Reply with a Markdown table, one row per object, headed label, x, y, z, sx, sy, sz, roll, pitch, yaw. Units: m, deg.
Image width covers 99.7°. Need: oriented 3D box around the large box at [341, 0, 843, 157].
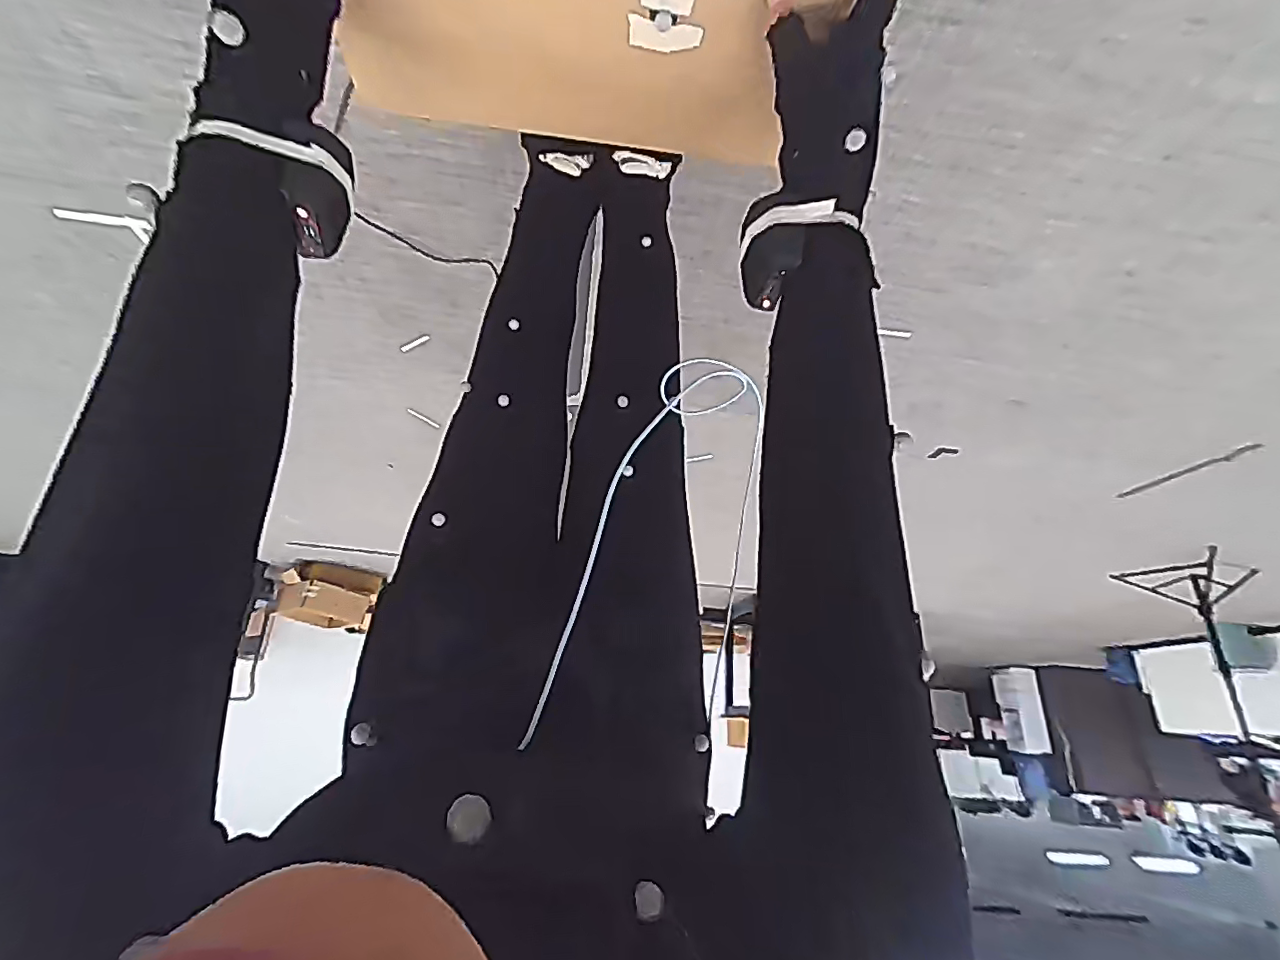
| label | x | y | z | sx | sy | sz | roll | pitch | yaw |
| --- | --- | --- | --- | --- | --- | --- | --- | --- | --- |
| large box | -0.030 | -0.531 | 0.448 | 0.408 | 0.320 | 0.320 | 5 | 155 | -3 |
